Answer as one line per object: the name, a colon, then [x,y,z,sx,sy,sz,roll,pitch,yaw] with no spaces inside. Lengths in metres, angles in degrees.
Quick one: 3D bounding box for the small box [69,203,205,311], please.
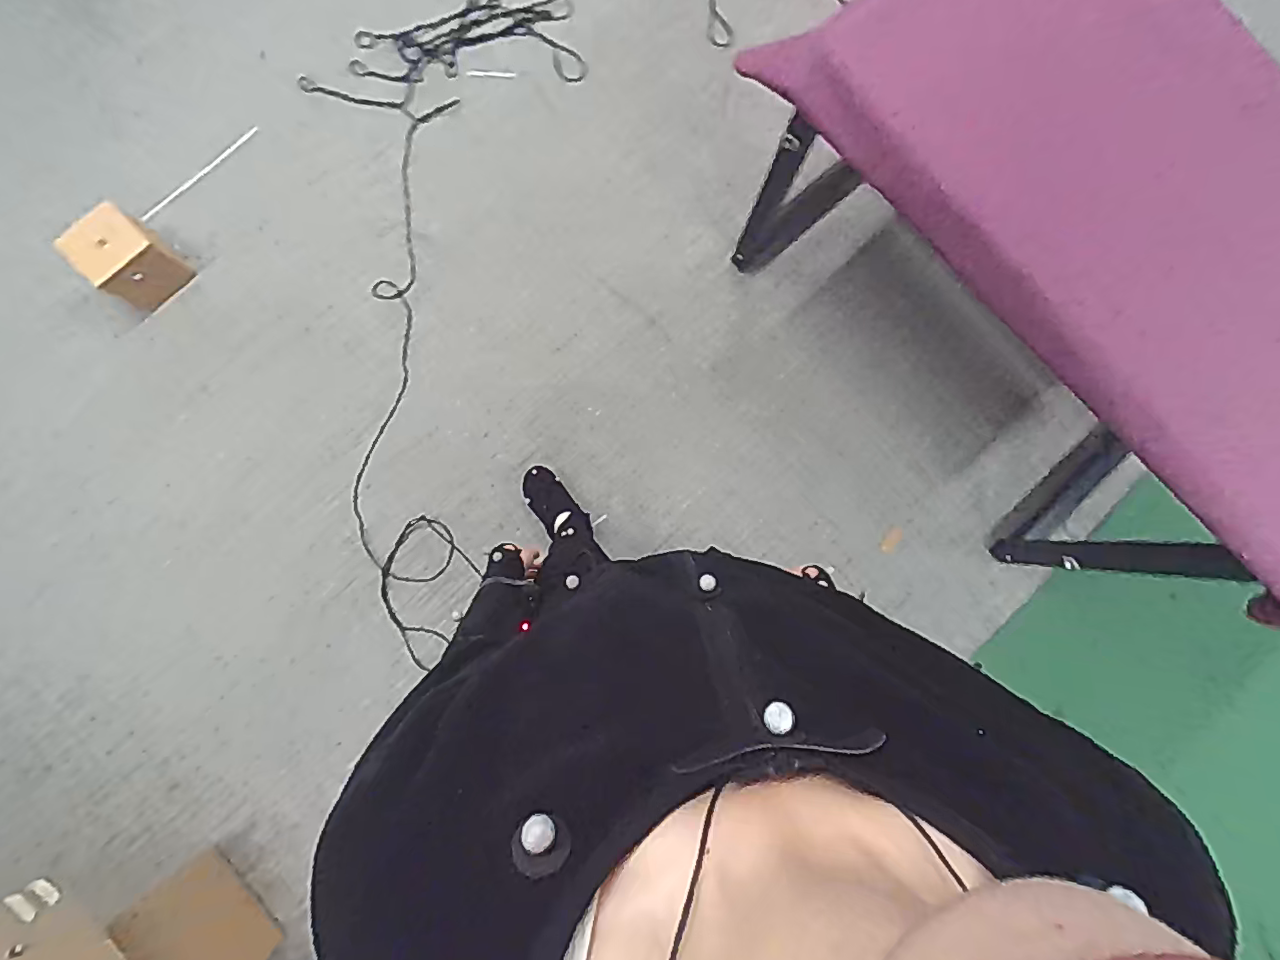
small box: [-1.348,-0.593,1.464,0.179,0.176,0.168,-43,88,-6]
